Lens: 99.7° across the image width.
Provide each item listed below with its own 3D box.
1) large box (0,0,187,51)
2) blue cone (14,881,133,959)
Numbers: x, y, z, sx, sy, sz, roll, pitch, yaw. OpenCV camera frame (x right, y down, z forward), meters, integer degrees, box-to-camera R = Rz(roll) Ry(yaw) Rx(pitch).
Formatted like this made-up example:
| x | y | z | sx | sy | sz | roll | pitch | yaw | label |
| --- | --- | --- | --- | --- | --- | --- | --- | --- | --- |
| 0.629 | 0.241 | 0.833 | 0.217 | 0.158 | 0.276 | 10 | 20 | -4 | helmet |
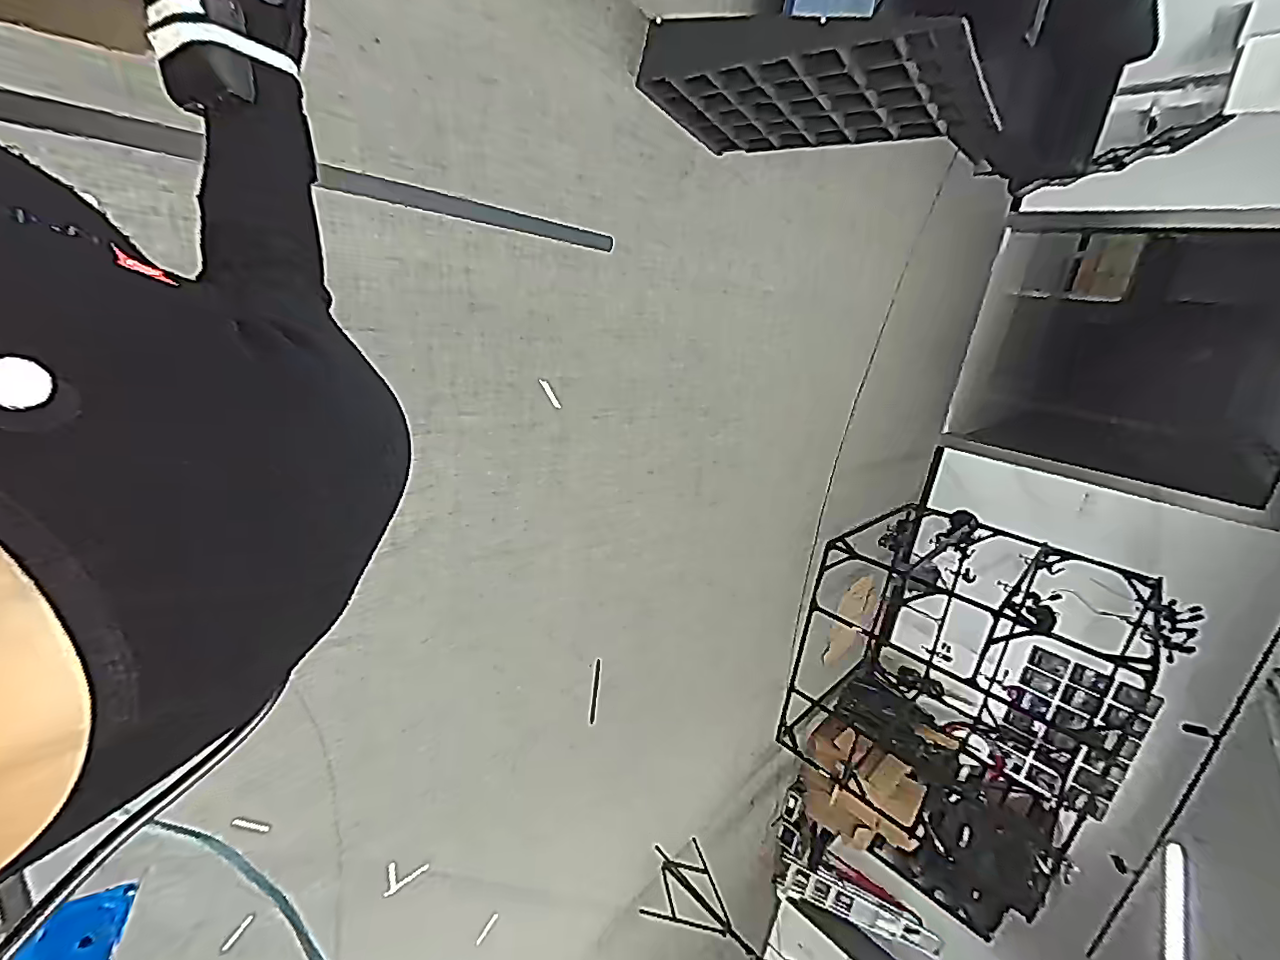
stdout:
| x | y | z | sx | sy | sz | roll | pitch | yaw | label |
| --- | --- | --- | --- | --- | --- | --- | --- | --- | --- |
| -0.536 | -0.486 | 0.276 | 0.408 | 0.320 | 0.320 | -18 | 124 | -44 | large box |
| -1.285 | 1.159 | 1.238 | 0.193 | 0.380 | 0.192 | 20 | 92 | -51 | blue cone |
